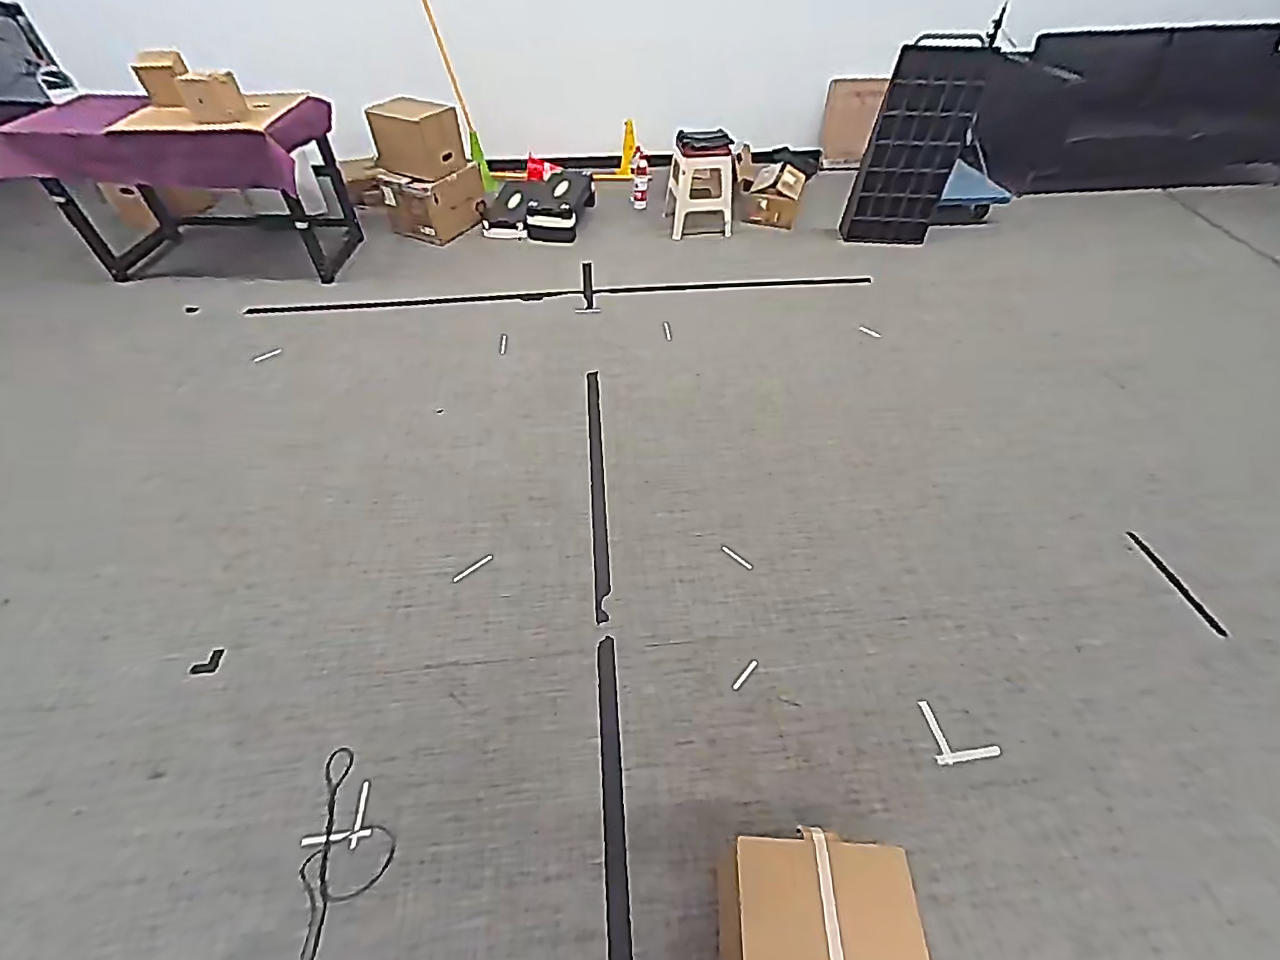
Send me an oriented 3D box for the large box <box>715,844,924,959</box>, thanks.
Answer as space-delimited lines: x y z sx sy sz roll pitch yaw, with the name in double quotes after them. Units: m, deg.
0.321 0.936 0.995 0.320 0.320 0.408 3 48 1 "large box"
